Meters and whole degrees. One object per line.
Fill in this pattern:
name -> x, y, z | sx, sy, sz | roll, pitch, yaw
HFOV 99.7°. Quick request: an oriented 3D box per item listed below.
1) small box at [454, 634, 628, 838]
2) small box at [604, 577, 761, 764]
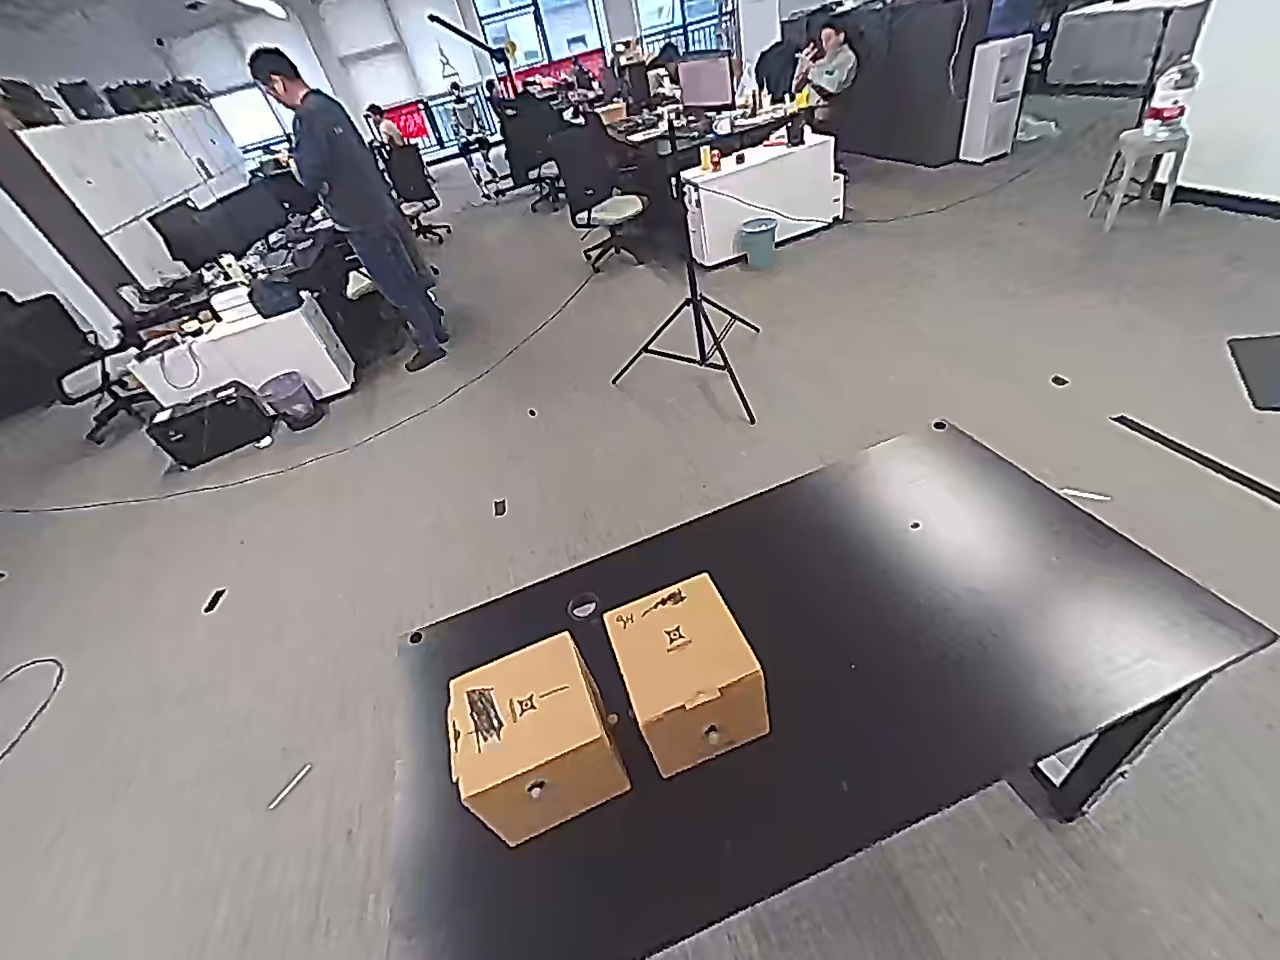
small box -> -0.135, 0.356, 0.751 | 0.179, 0.176, 0.168 | -22, 40, -9
small box -> 0.063, 0.278, 0.776 | 0.168, 0.176, 0.179 | -20, 41, -7
